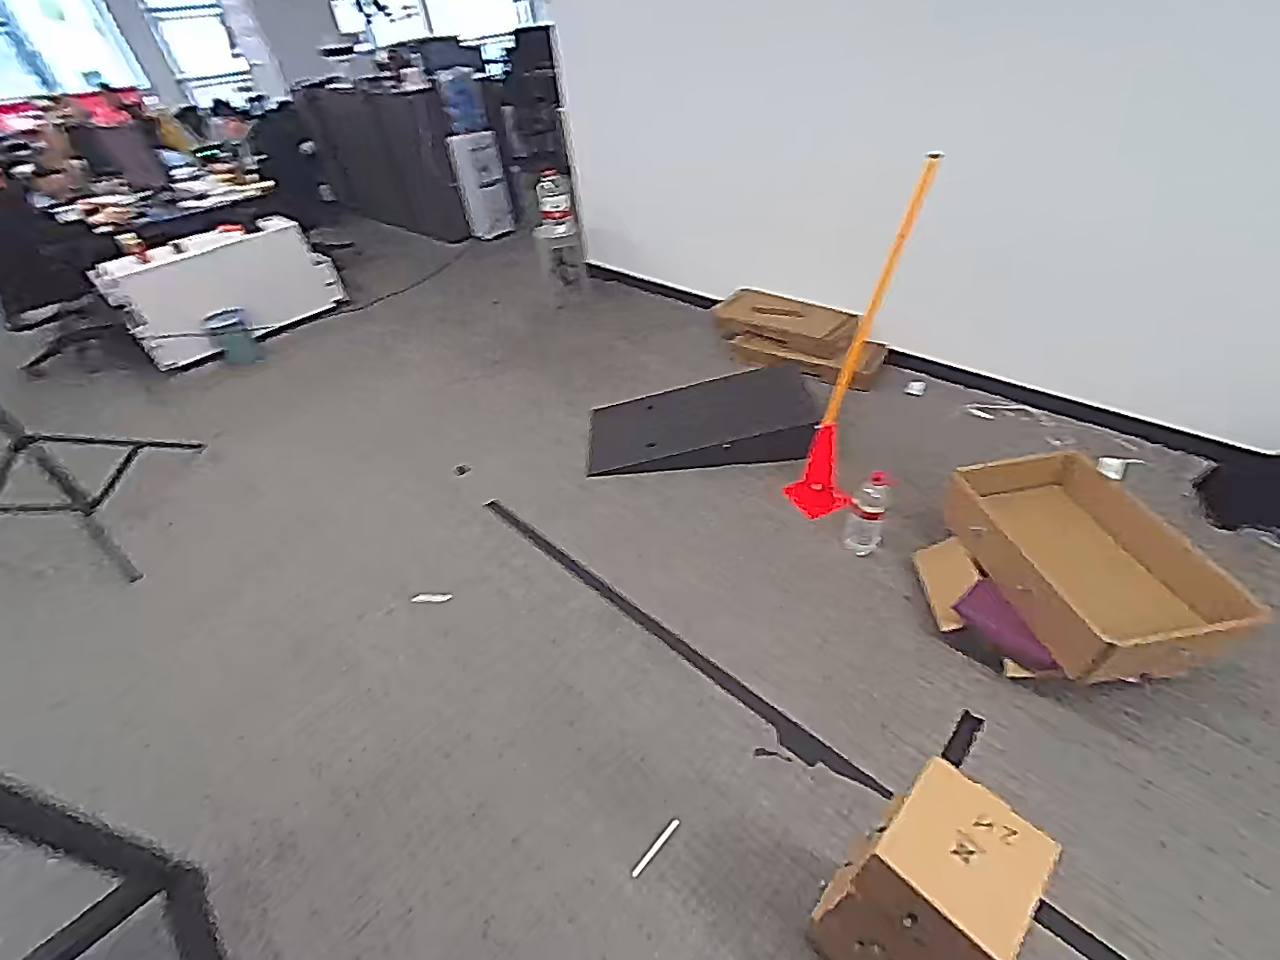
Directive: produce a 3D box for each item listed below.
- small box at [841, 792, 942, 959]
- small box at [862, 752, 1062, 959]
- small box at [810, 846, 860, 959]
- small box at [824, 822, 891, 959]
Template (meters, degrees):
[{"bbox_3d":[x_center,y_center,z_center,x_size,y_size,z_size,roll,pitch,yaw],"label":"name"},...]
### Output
[{"bbox_3d":[0.440,0.652,0.861,0.168,0.176,0.179,28,53,33],"label":"small box"},{"bbox_3d":[0.431,0.531,0.750,0.179,0.176,0.168,-35,49,-28],"label":"small box"},{"bbox_3d":[0.465,0.893,1.084,0.179,0.176,0.168,29,52,35],"label":"small box"},{"bbox_3d":[0.451,0.773,0.973,0.168,0.176,0.179,28,51,33],"label":"small box"}]
